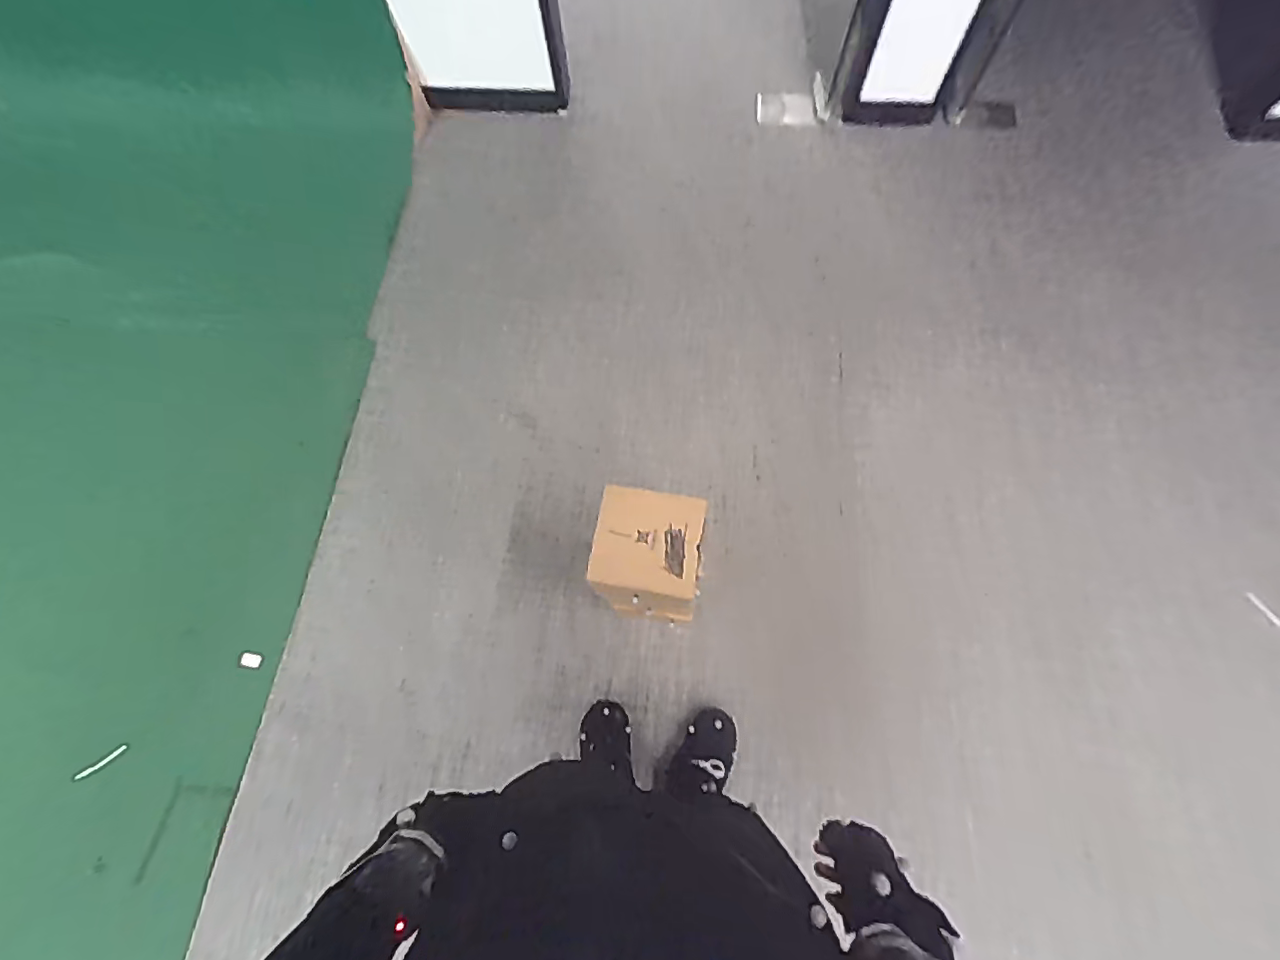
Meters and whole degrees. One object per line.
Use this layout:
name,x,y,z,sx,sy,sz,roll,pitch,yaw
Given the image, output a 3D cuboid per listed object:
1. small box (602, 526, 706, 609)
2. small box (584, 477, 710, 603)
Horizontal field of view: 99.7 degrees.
small box,0.031,0.165,1.109,0.179,0.176,0.168,9,72,6
small box,0.016,0.113,0.951,0.179,0.176,0.168,12,71,7
